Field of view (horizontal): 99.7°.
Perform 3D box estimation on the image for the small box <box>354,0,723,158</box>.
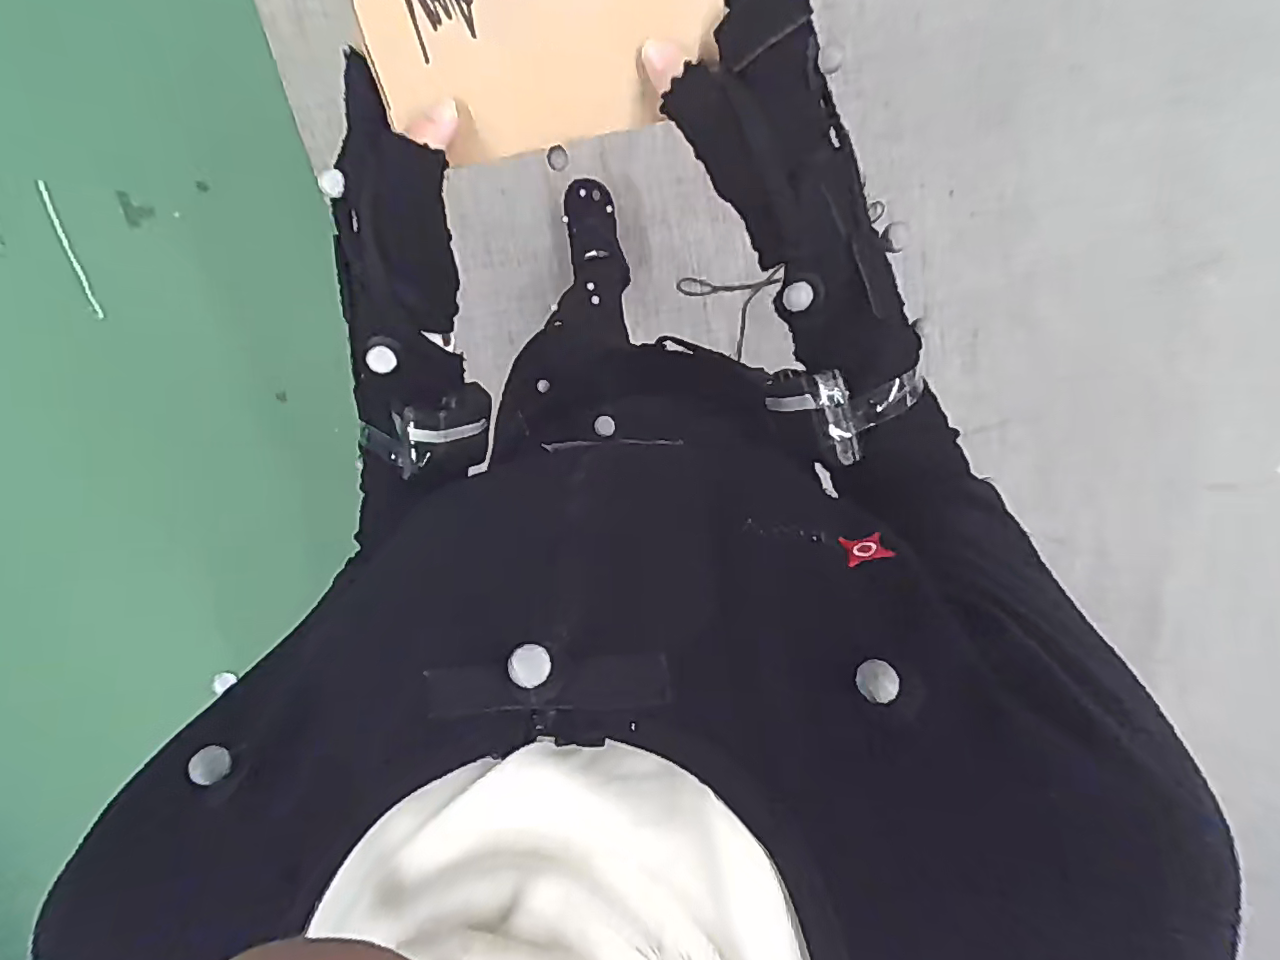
[{"bbox_3d":[-0.054,-0.296,0.311,0.179,0.176,0.168,-9,124,5],"label":"small box"}]
